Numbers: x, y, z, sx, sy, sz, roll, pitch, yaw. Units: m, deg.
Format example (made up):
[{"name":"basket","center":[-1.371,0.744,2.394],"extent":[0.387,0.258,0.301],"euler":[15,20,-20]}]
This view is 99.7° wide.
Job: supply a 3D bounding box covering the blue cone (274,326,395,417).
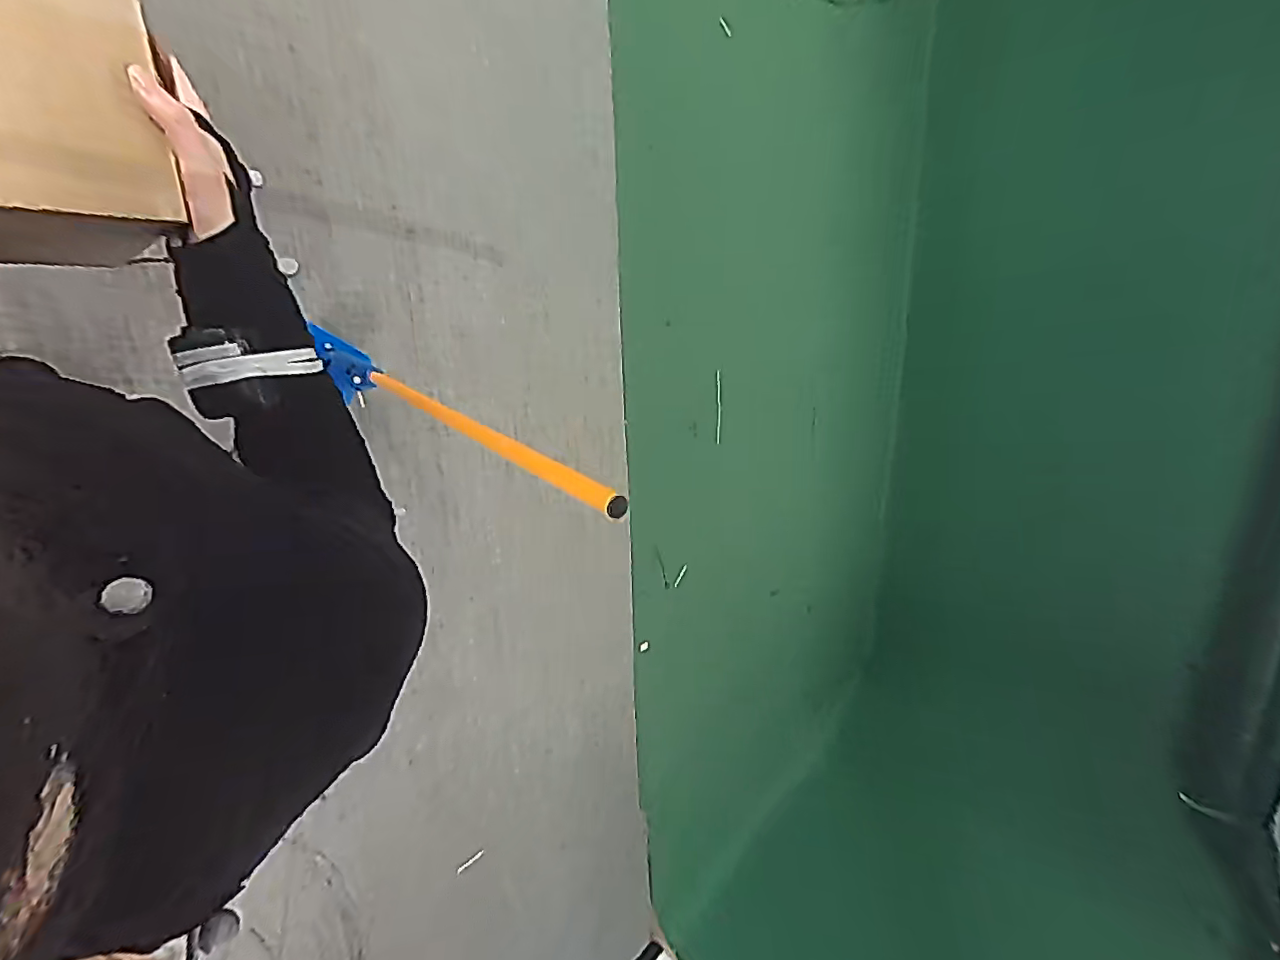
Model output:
[{"name":"blue cone","center":[-0.660,-0.241,1.242],"extent":[0.193,0.380,0.192],"euler":[30,77,-48]}]
